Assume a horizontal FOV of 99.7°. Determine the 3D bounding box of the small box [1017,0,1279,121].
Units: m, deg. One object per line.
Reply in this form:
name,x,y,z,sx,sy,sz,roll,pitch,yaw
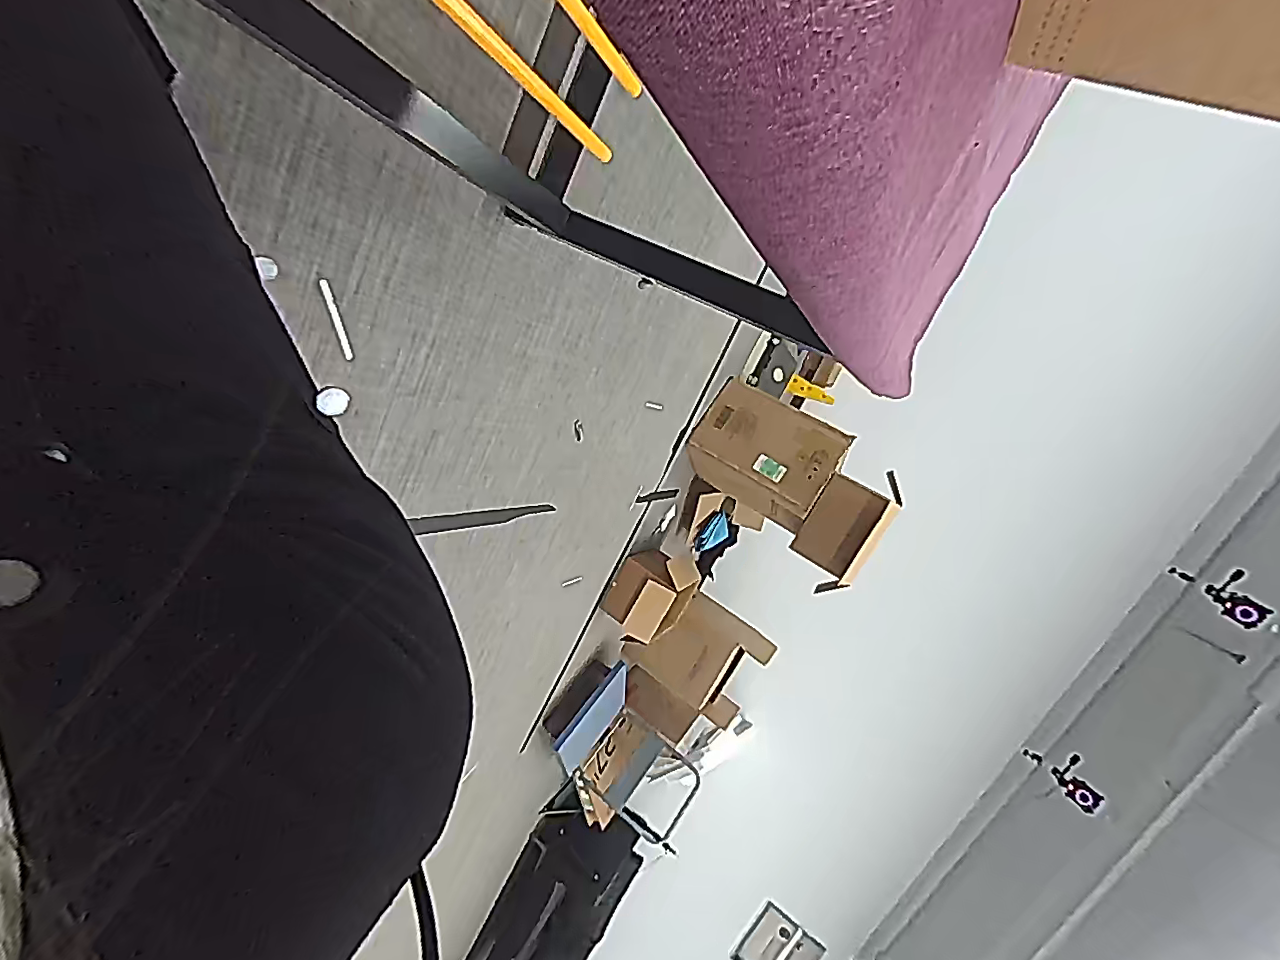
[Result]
small box,0.258,-0.251,0.165,0.168,0.176,0.179,-65,160,12
